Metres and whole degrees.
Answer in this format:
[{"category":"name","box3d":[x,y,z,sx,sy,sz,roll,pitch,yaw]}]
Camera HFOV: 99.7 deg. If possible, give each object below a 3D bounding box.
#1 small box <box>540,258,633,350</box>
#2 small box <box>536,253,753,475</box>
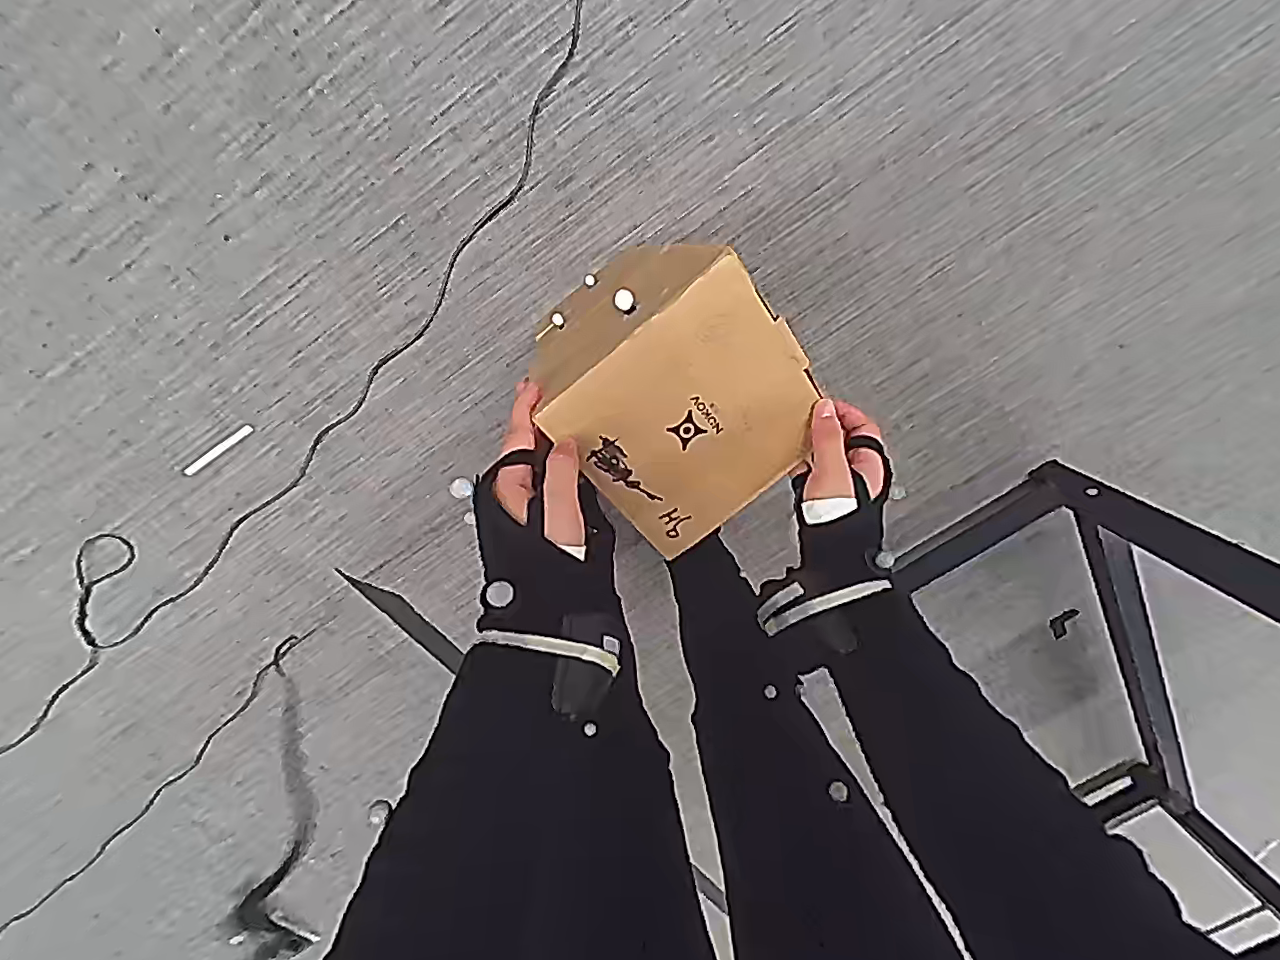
[{"category":"small box","box3d":[-0.028,-0.204,0.788,0.179,0.176,0.168,-36,114,9]},{"category":"small box","box3d":[-0.001,-0.143,0.639,0.179,0.176,0.168,-39,114,9]}]
